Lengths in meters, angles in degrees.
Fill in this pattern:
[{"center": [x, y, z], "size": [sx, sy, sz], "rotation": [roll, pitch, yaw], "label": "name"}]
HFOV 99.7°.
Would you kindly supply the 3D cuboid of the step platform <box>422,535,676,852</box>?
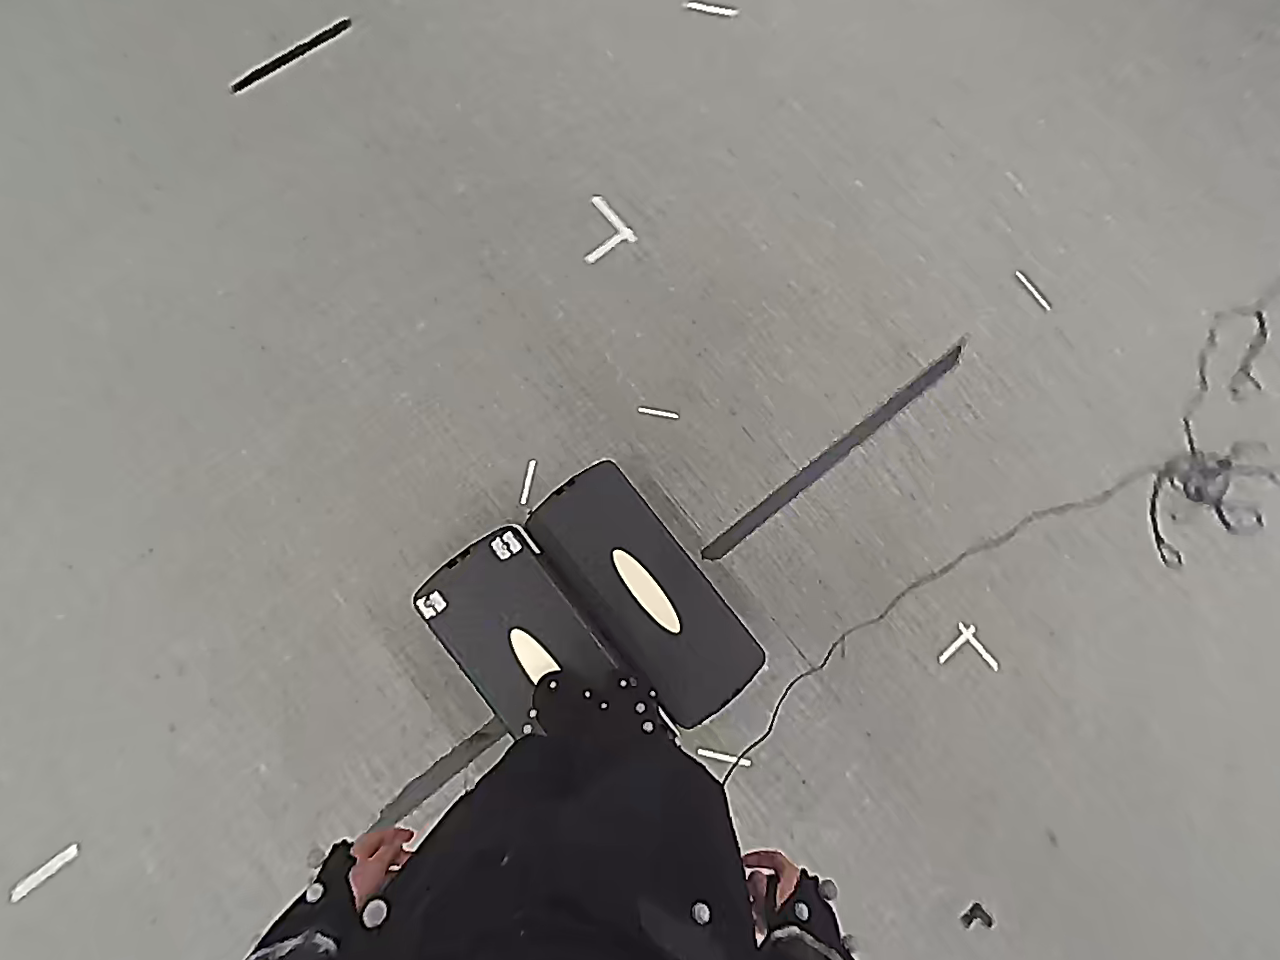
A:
[{"center": [-0.209, 0.468, 1.256], "size": [0.286, 0.204, 0.684], "rotation": [-34, 83, -10], "label": "step platform"}]
